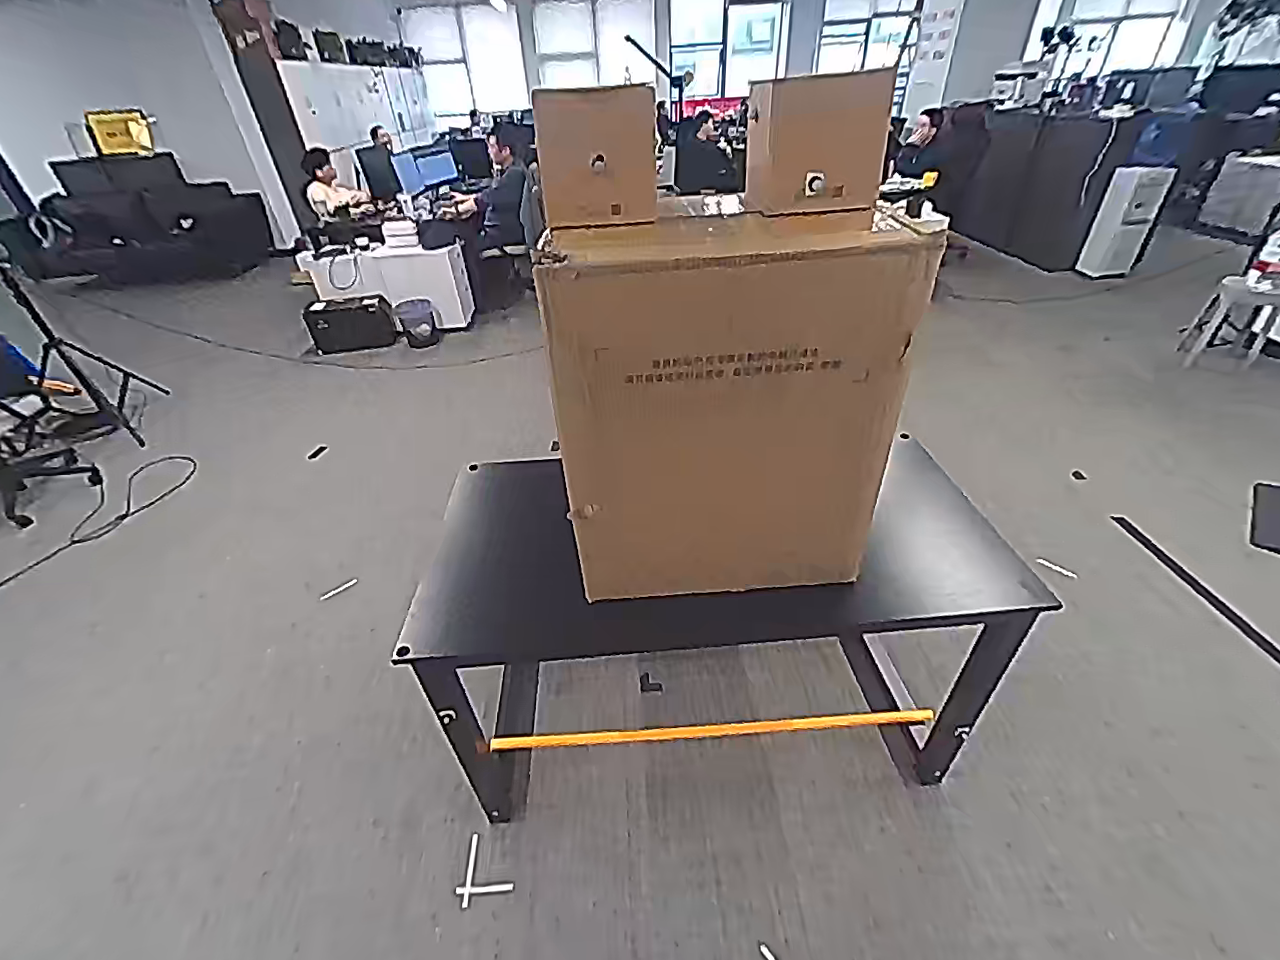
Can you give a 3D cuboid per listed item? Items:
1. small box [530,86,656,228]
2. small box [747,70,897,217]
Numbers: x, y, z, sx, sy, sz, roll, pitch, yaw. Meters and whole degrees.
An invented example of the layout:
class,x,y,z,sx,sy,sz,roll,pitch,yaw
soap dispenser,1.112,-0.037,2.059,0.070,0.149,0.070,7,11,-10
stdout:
class,x,y,z,sx,sy,sz,roll,pitch,yaw
small box,-0.068,-0.486,0.818,0.168,0.176,0.179,-6,36,-5
small box,0.259,-0.504,0.817,0.168,0.176,0.179,-5,36,2
